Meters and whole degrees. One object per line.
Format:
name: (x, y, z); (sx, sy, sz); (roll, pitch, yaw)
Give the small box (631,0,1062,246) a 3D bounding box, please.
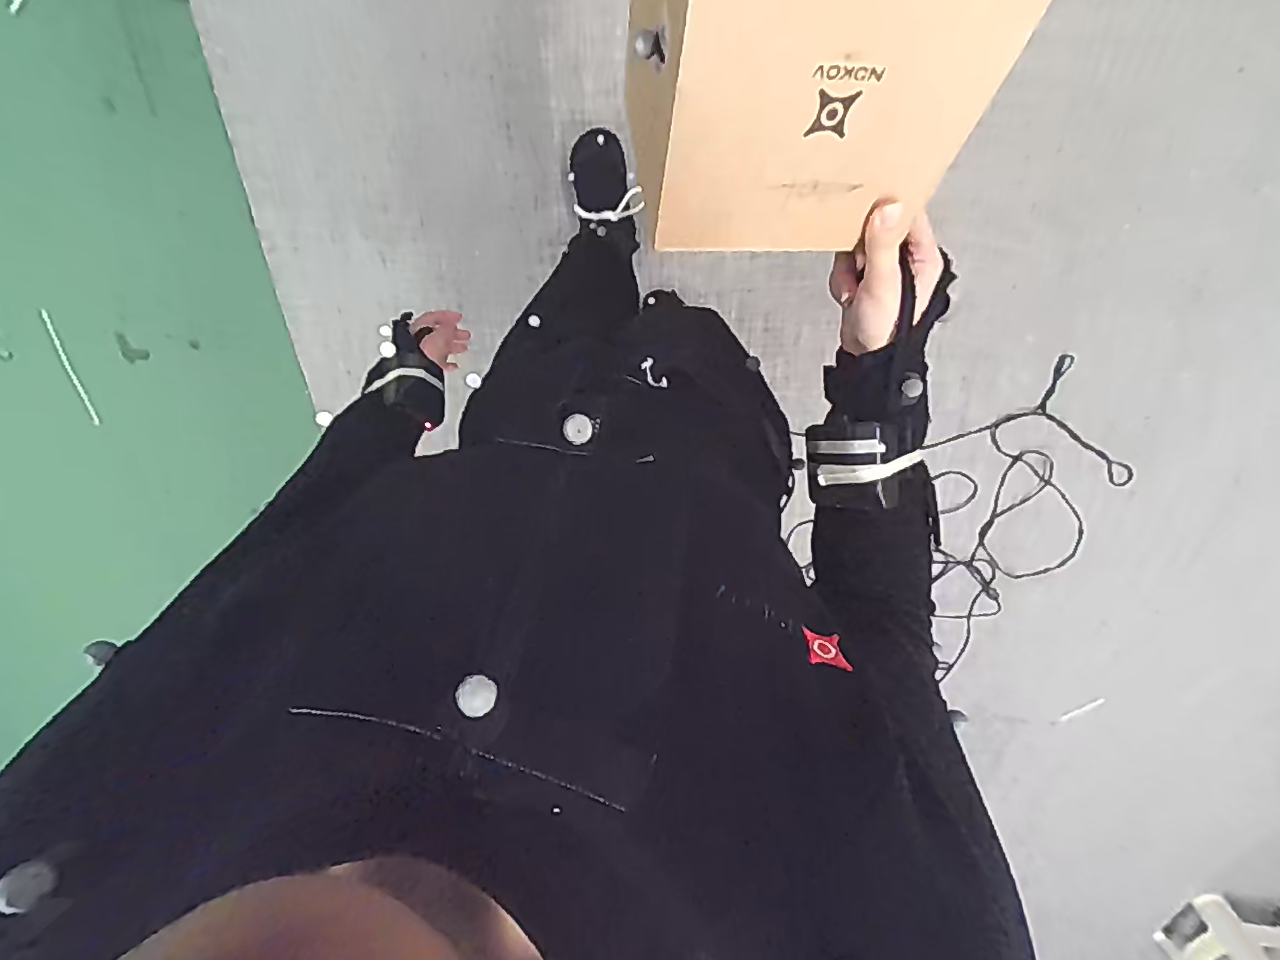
small box: (0.090, -0.259, 0.299); (0.168, 0.176, 0.179); (-3, 153, -9)
